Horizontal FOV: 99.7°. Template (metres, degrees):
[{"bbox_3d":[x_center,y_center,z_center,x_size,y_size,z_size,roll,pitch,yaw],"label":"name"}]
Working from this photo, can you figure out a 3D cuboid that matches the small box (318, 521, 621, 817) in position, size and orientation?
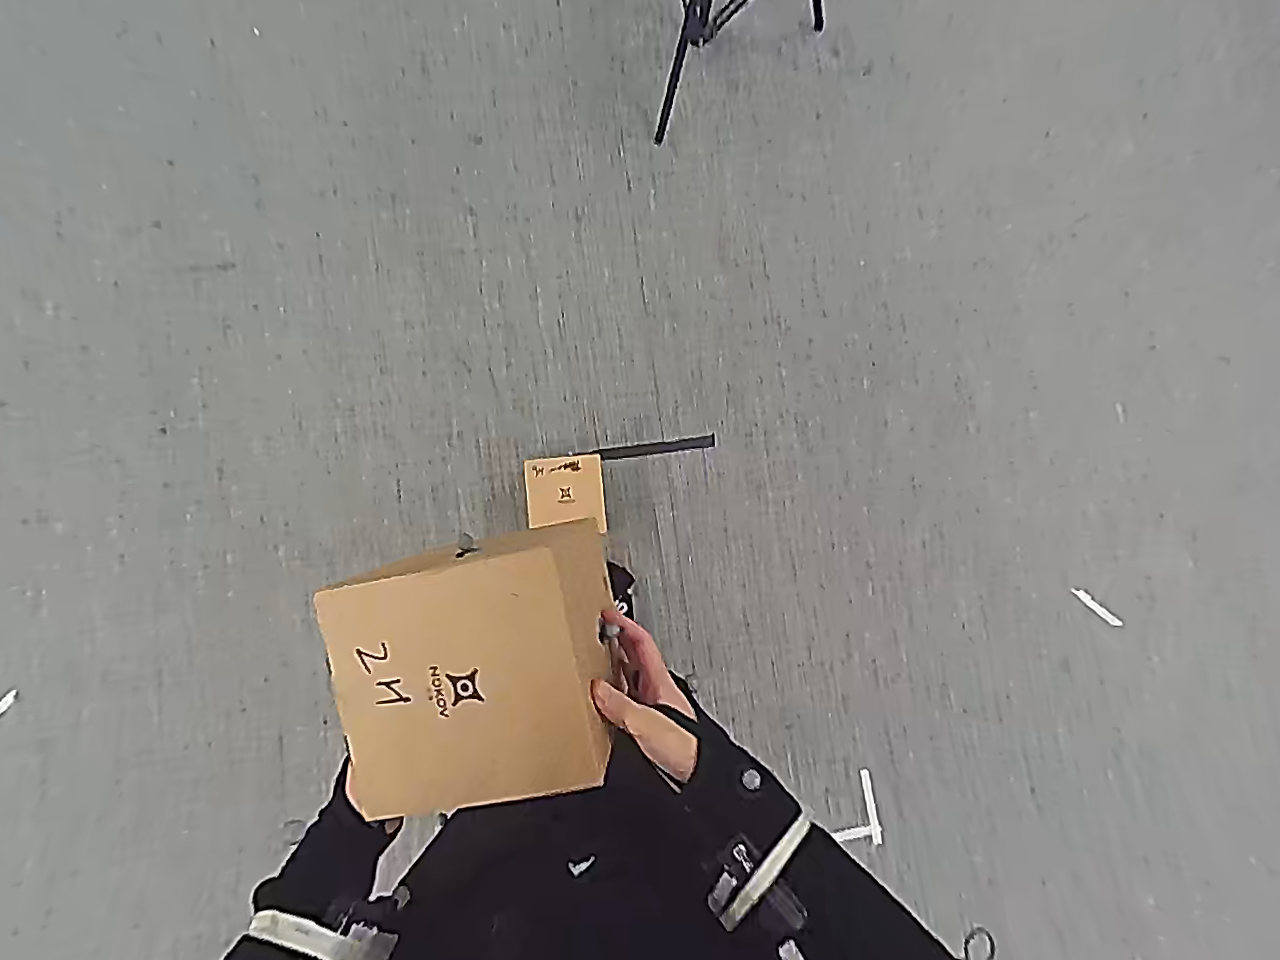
[{"bbox_3d":[-0.118,0.136,0.451,0.179,0.176,0.168,-13,91,5],"label":"small box"}]

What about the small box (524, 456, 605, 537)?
[{"bbox_3d":[-0.167,0.045,1.235,0.168,0.176,0.179,-5,86,-6],"label":"small box"}]
